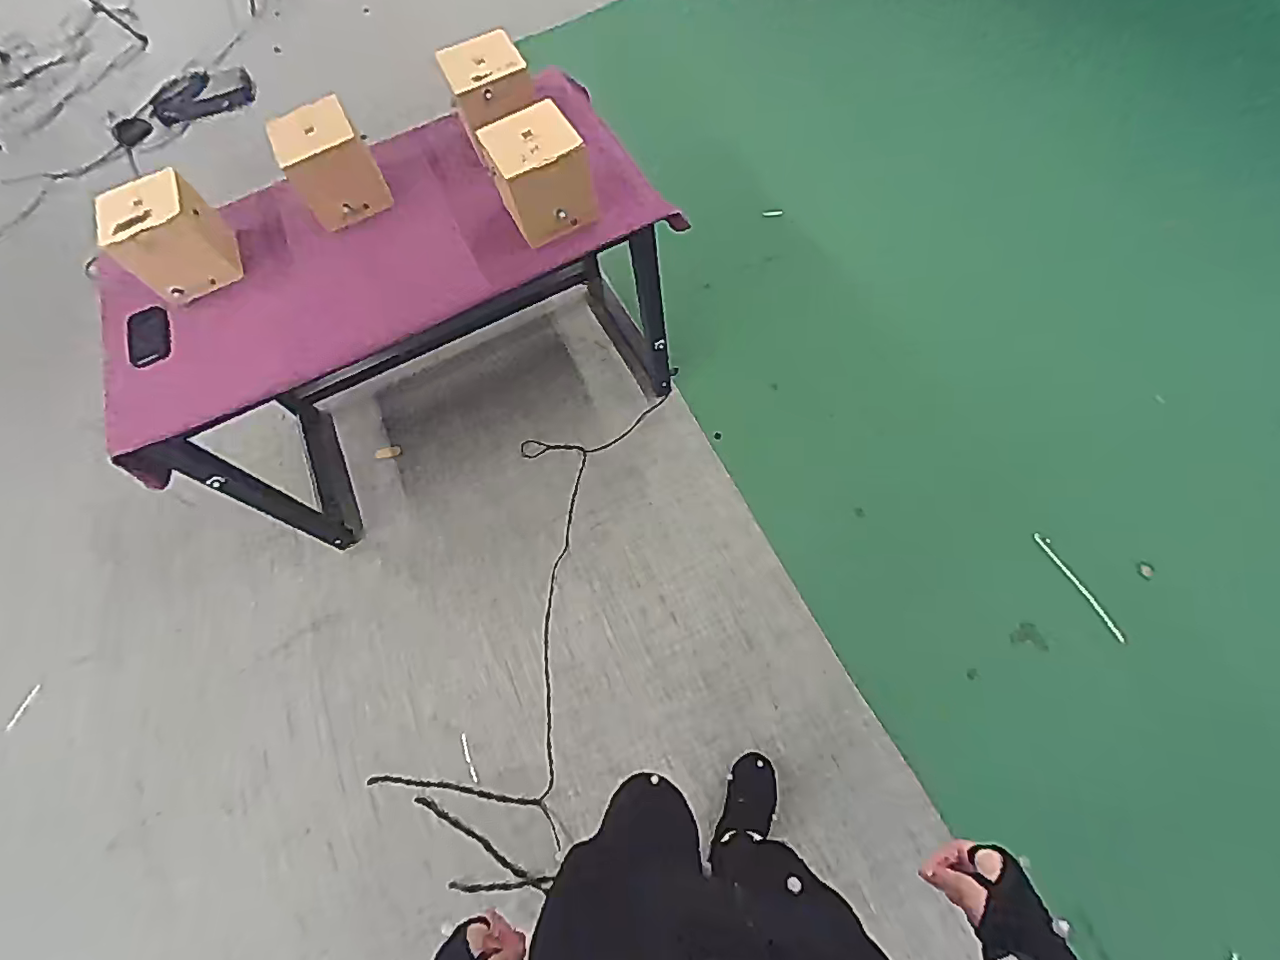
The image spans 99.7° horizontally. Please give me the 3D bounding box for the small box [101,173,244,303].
[{"bbox_3d":[-0.999,-0.510,1.167,0.168,0.176,0.179,-27,65,-5],"label":"small box"}]

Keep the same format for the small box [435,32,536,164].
[{"bbox_3d":[-0.339,-0.869,1.241,0.168,0.176,0.179,-26,65,-3],"label":"small box"}]

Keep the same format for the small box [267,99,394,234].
[{"bbox_3d":[-0.686,-0.695,1.211,0.168,0.176,0.179,-28,66,-4],"label":"small box"}]

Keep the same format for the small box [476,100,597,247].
[{"bbox_3d":[-0.207,-0.622,1.110,0.168,0.176,0.179,-28,66,-4],"label":"small box"}]
